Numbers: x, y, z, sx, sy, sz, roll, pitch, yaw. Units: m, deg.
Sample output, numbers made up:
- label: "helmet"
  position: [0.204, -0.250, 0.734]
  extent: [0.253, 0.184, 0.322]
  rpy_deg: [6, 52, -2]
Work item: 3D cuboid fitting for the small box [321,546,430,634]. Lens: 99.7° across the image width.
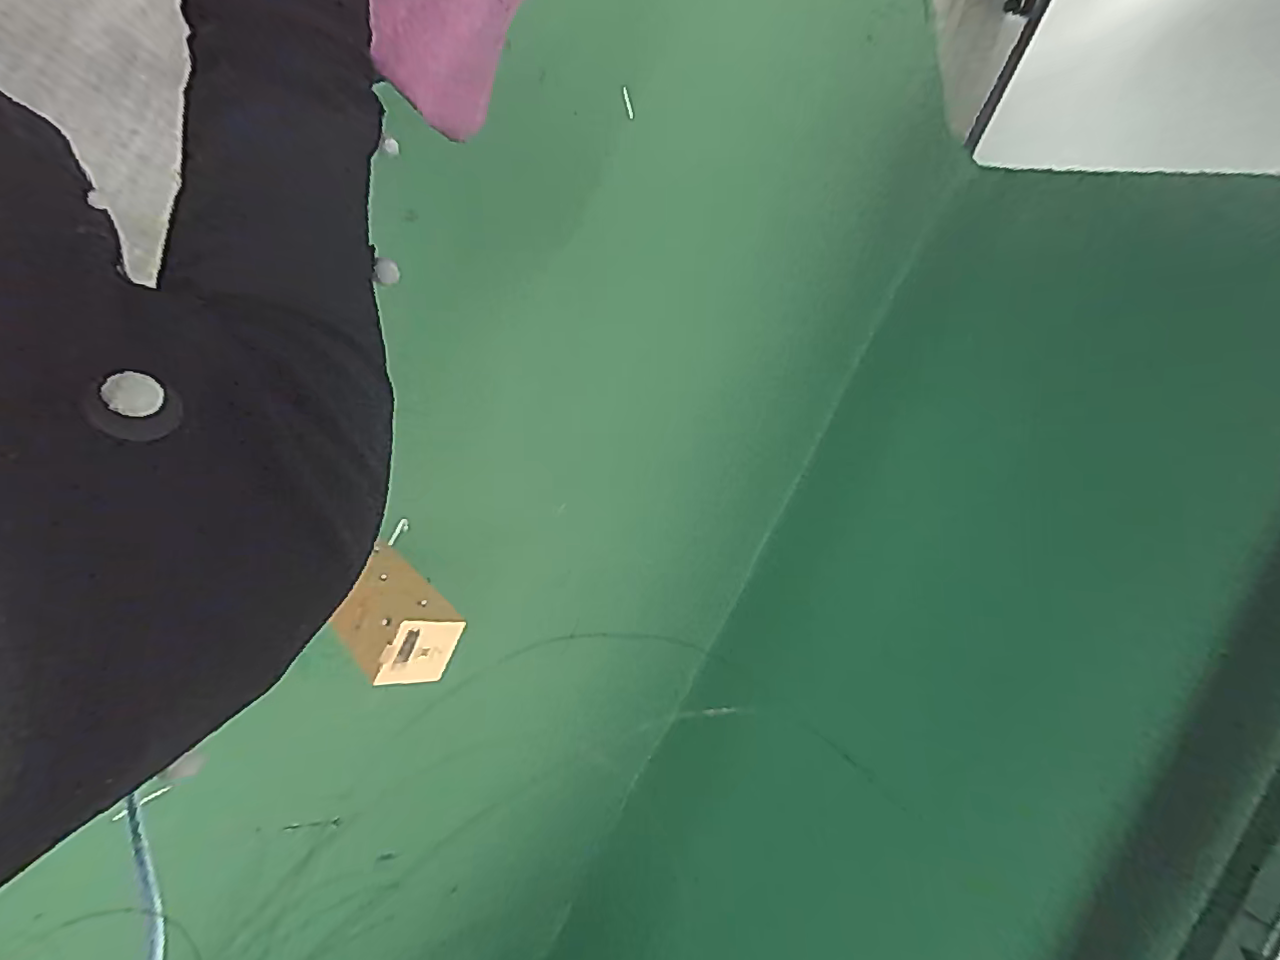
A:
- label: "small box"
  position: [-0.695, 0.287, 1.417]
  extent: [0.179, 0.176, 0.168]
  rpy_deg: [21, 96, -52]
